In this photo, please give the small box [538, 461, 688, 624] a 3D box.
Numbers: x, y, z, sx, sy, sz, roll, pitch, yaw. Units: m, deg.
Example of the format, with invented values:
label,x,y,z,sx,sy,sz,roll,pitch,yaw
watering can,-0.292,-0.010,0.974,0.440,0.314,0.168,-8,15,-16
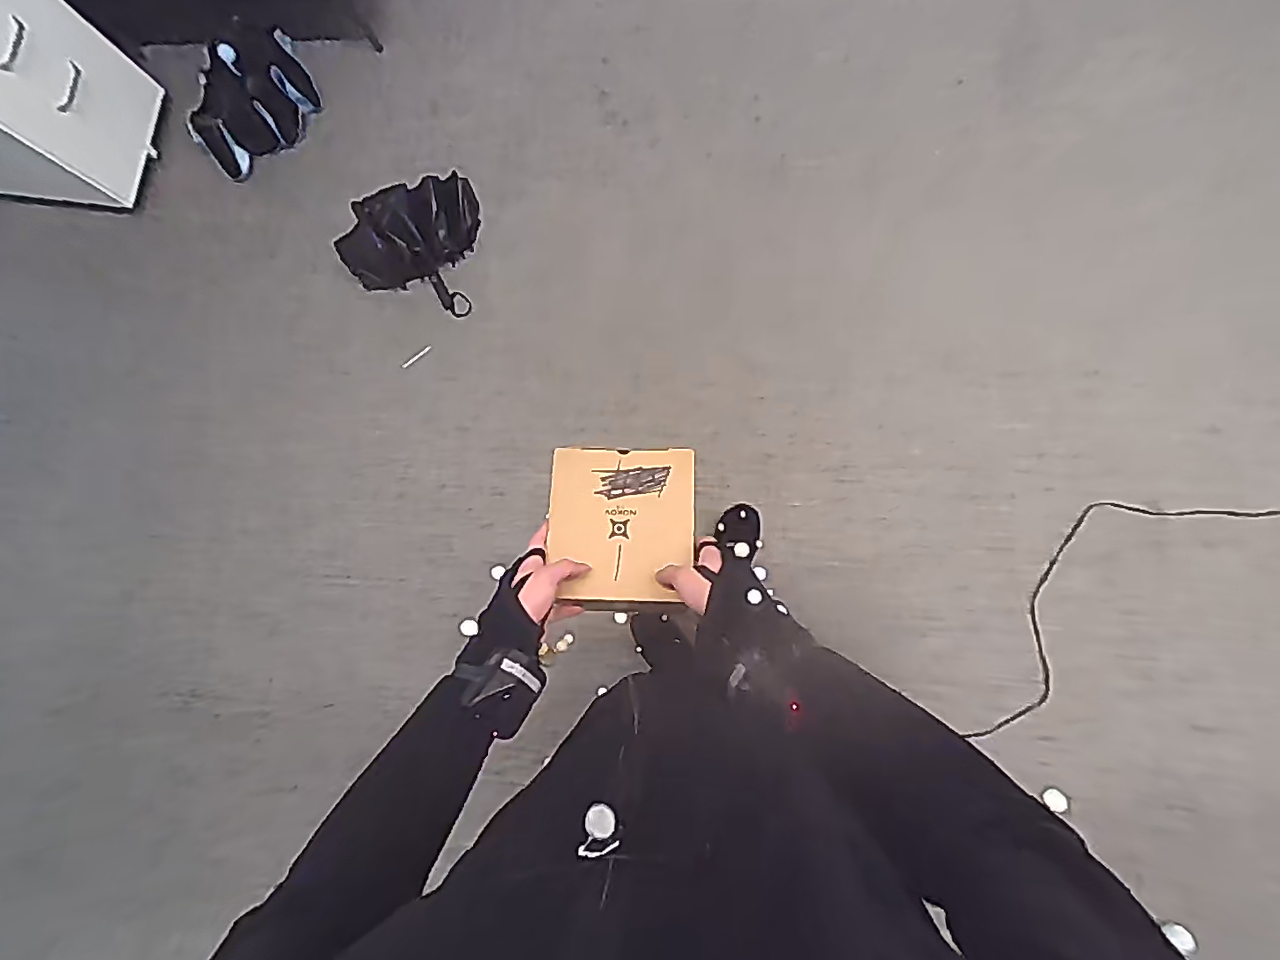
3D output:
label,x,y,z,sx,sy,sz,roll,pitch,yaw
small box,-0.022,0.086,0.690,0.168,0.176,0.179,0,72,5
